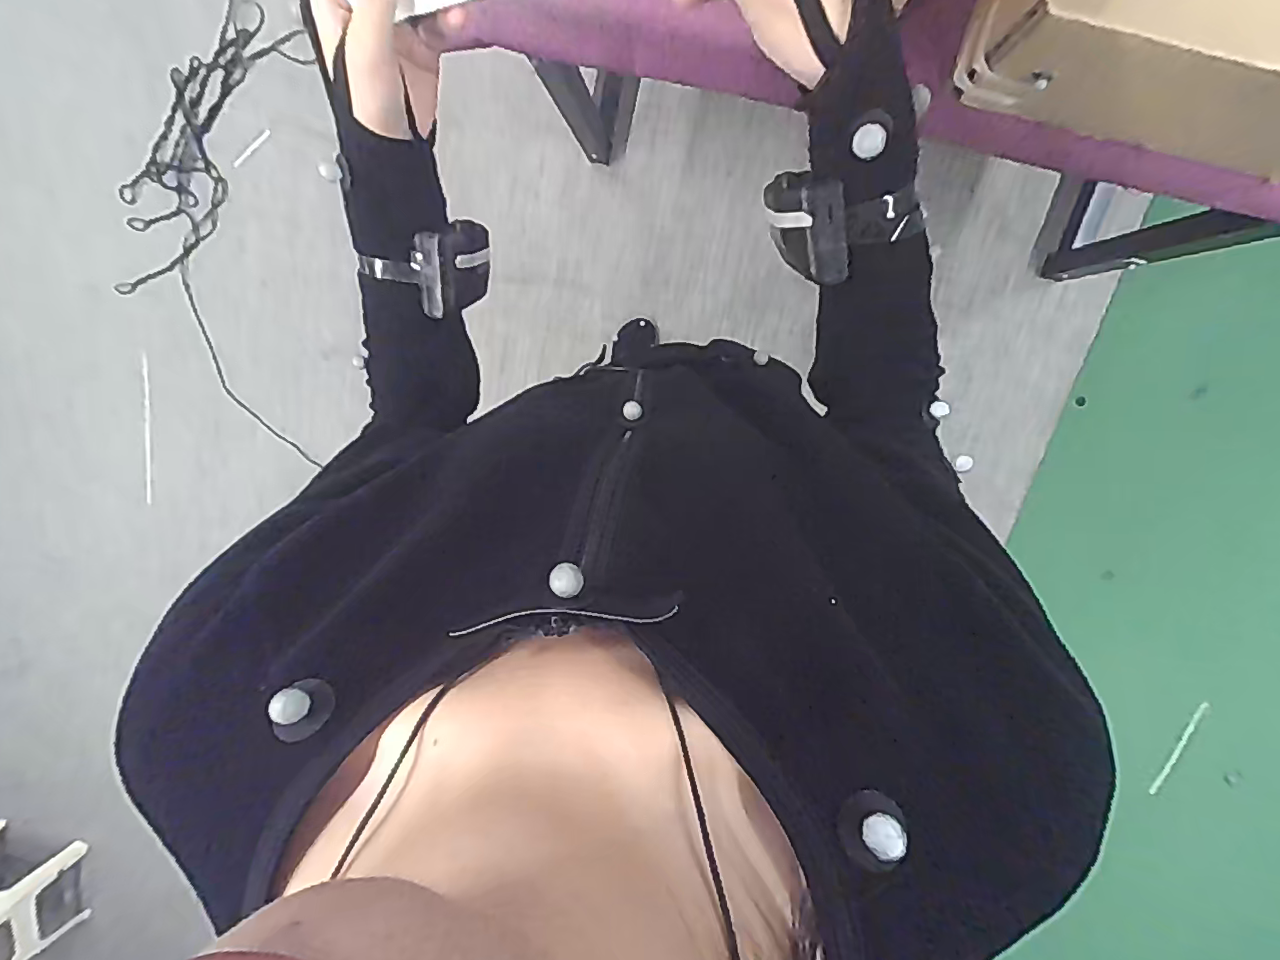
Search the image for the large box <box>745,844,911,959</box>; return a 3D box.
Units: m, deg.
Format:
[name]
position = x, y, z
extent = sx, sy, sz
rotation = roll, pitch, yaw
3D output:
[large box]
position = 0.525, 1.343, 1.602
extent = 0.408, 0.320, 0.320
rotation = 0, 103, 5
